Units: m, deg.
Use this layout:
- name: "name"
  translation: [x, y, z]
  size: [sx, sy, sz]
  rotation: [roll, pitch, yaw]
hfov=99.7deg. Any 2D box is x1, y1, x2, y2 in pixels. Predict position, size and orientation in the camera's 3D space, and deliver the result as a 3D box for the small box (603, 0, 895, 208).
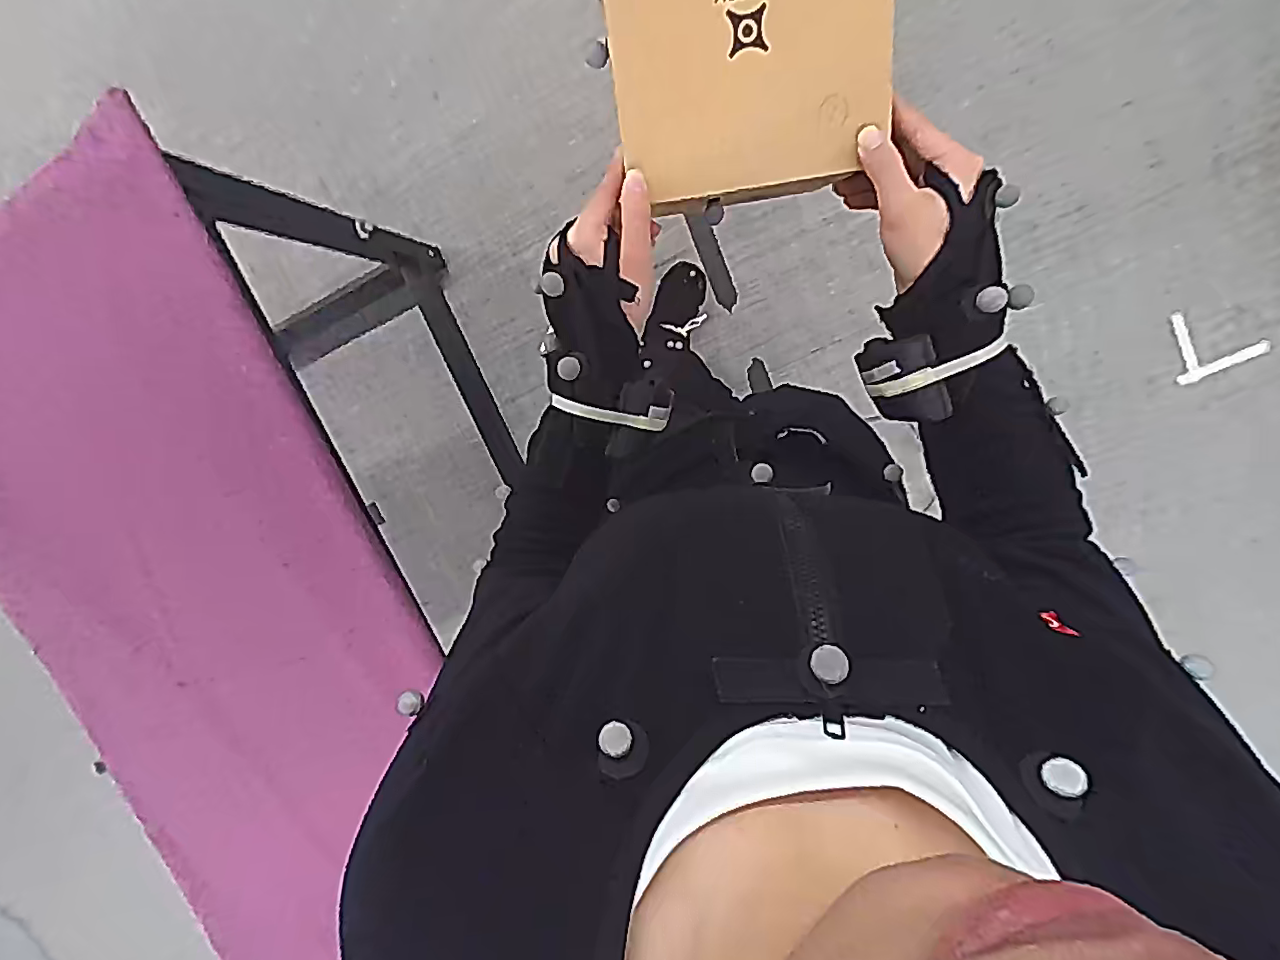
- name: "small box"
  translation: [0.067, -0.300, 0.383]
  size: [0.168, 0.176, 0.179]
  rotation: [-6, 112, 6]
